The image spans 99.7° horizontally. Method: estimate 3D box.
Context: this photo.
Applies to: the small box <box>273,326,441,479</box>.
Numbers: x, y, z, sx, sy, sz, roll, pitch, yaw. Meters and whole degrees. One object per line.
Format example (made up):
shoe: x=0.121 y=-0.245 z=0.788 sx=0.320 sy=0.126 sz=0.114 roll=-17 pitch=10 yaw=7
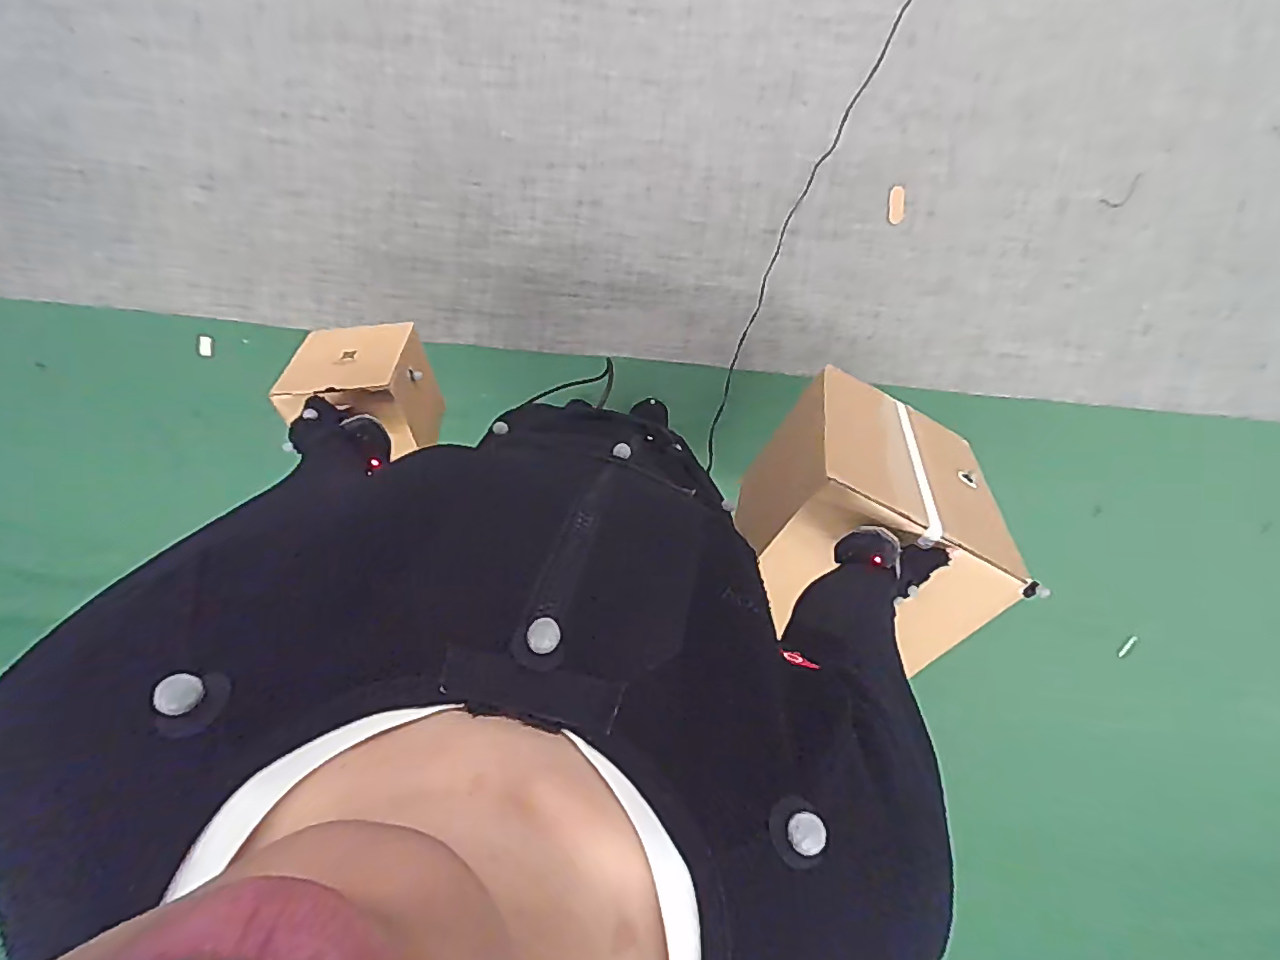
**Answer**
small box: x=-0.430 y=-0.123 z=0.862 sx=0.168 sy=0.179 sz=0.176 roll=-5 pitch=136 yaw=-2
